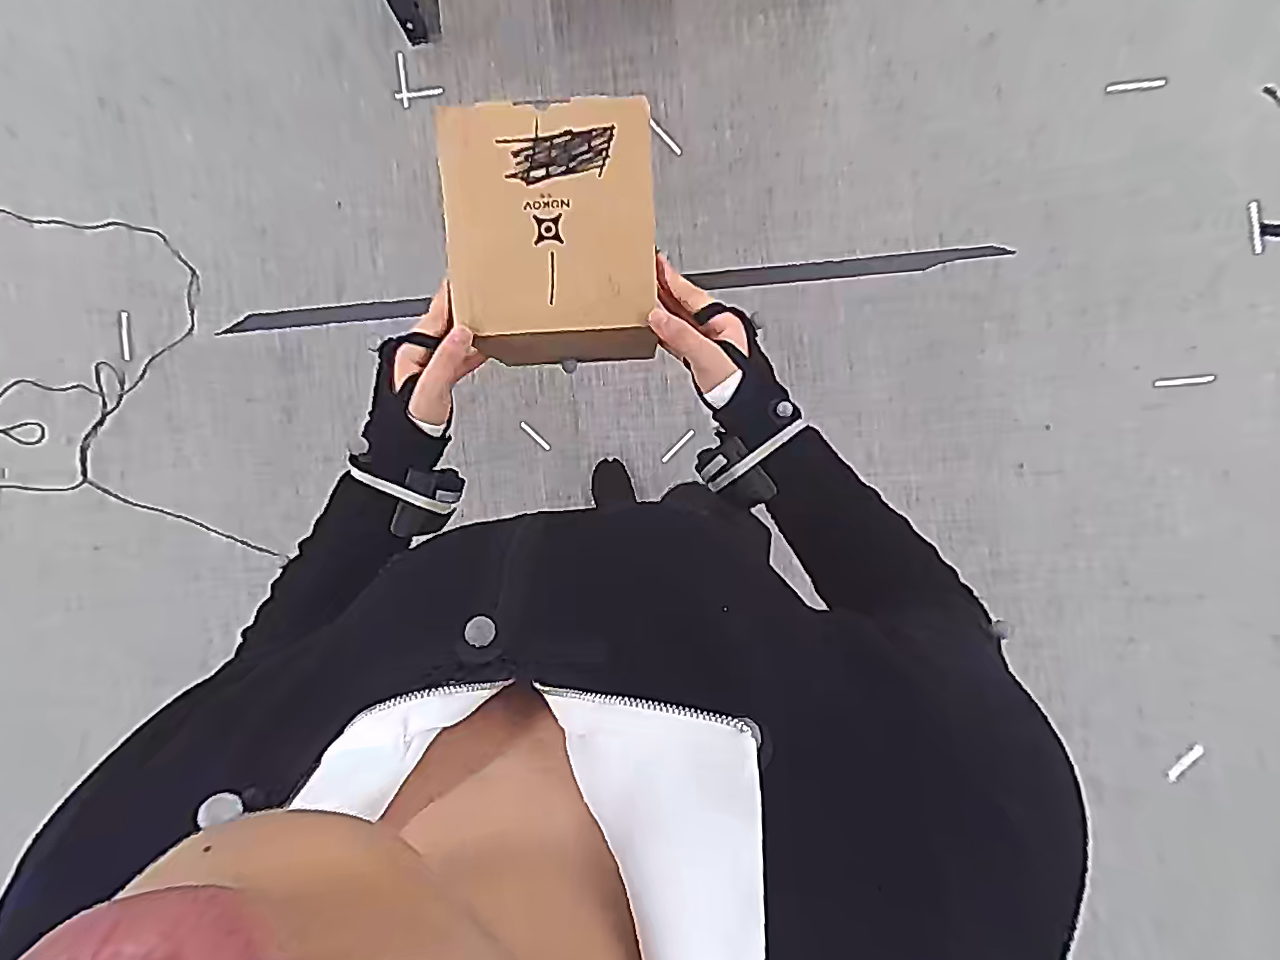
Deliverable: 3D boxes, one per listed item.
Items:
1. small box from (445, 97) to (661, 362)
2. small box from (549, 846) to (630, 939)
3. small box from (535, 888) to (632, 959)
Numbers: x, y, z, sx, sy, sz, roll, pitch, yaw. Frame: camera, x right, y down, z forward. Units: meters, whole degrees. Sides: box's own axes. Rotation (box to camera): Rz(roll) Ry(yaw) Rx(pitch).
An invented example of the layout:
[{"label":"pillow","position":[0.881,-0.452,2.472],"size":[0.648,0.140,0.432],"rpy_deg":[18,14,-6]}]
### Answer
[{"label":"small box","position":[-0.069,-0.213,0.504],"size":[0.168,0.176,0.179],"rpy_deg":[-3,94,0]},{"label":"small box","position":[-0.117,1.024,1.313],"size":[0.168,0.176,0.179],"rpy_deg":[-8,89,2]},{"label":"small box","position":[-0.113,1.024,1.149],"size":[0.168,0.176,0.179],"rpy_deg":[-11,90,1]}]
